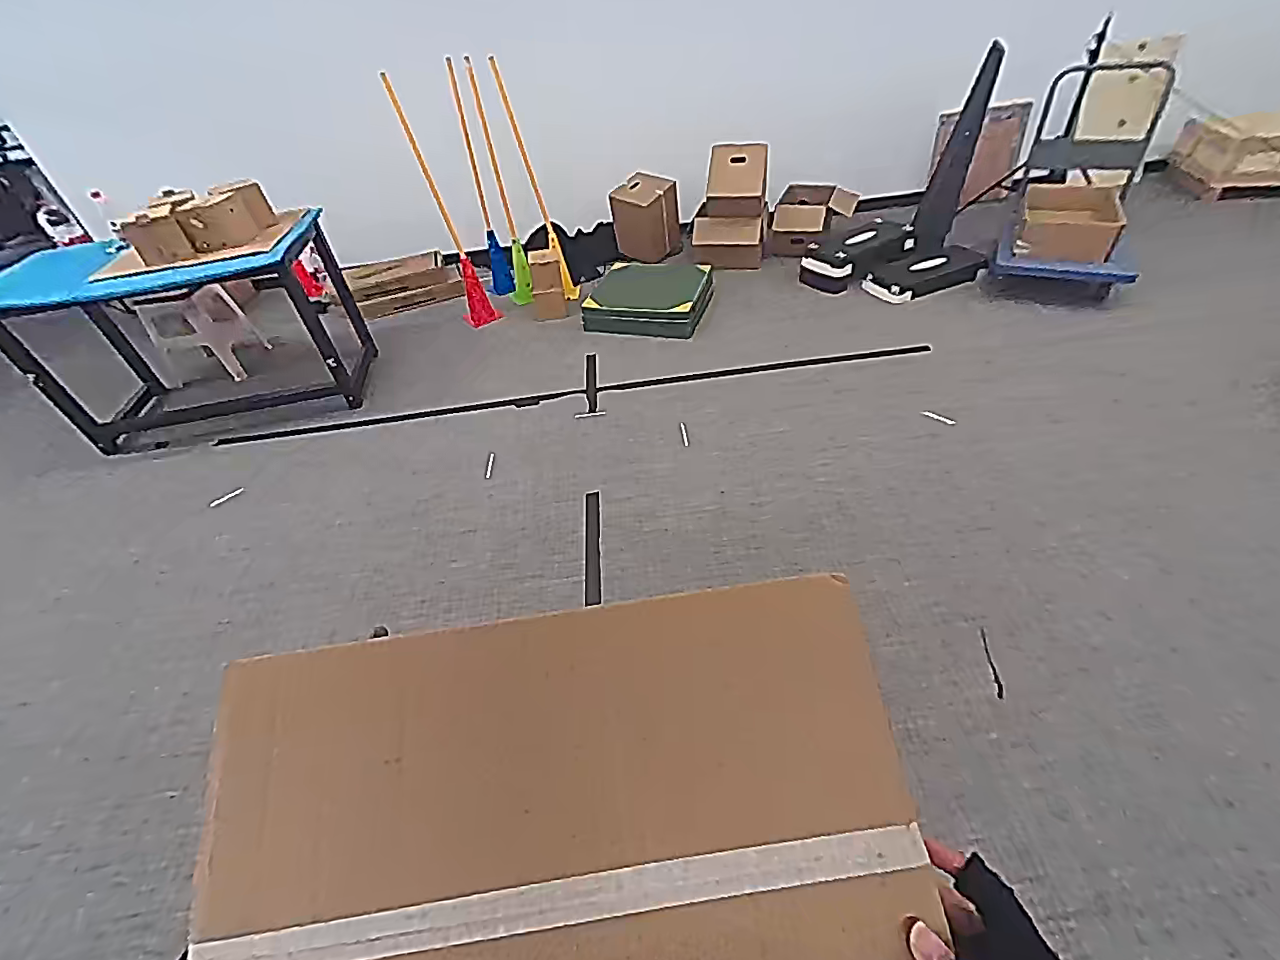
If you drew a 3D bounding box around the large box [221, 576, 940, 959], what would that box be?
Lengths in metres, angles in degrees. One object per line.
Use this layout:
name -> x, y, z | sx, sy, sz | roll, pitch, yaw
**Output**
large box -> -0.038, 0.289, 0.449 | 0.408, 0.320, 0.320 | -8, 70, -2
